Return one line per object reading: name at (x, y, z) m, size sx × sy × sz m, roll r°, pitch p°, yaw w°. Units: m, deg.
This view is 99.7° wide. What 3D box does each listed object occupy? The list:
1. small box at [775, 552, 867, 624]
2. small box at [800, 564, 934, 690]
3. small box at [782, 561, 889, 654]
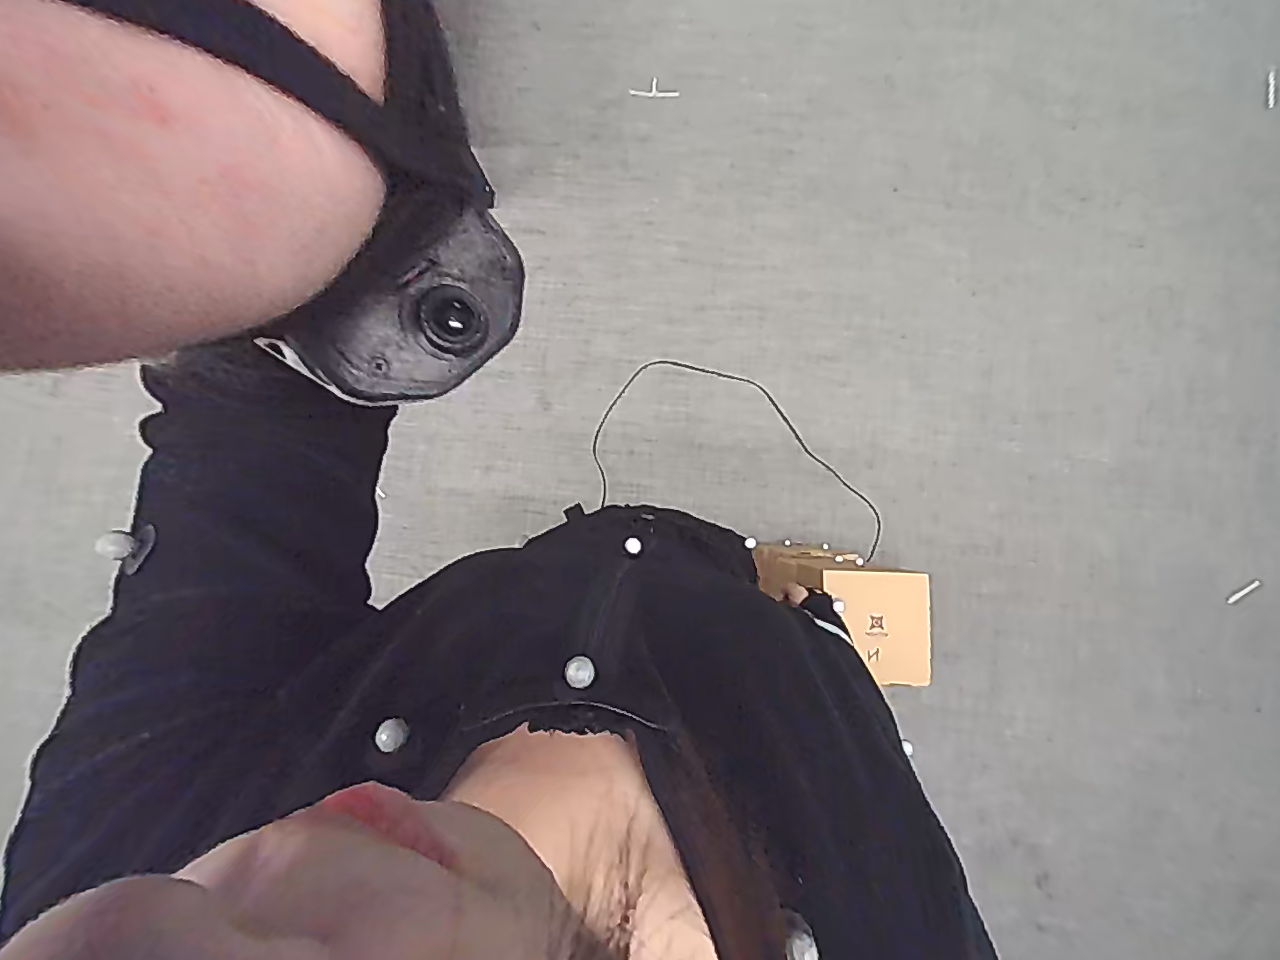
small box at (0.409, 0.258, 1.243) m, size 0.168 × 0.176 × 0.179 m, roll 1°, pitch 87°, yaw 4°
small box at (0.374, 0.238, 0.917) m, size 0.168 × 0.176 × 0.179 m, roll 3°, pitch 86°, yaw 4°
small box at (0.387, 0.252, 1.081) m, size 0.179 × 0.176 × 0.168 m, roll 2°, pitch 86°, yaw 2°
